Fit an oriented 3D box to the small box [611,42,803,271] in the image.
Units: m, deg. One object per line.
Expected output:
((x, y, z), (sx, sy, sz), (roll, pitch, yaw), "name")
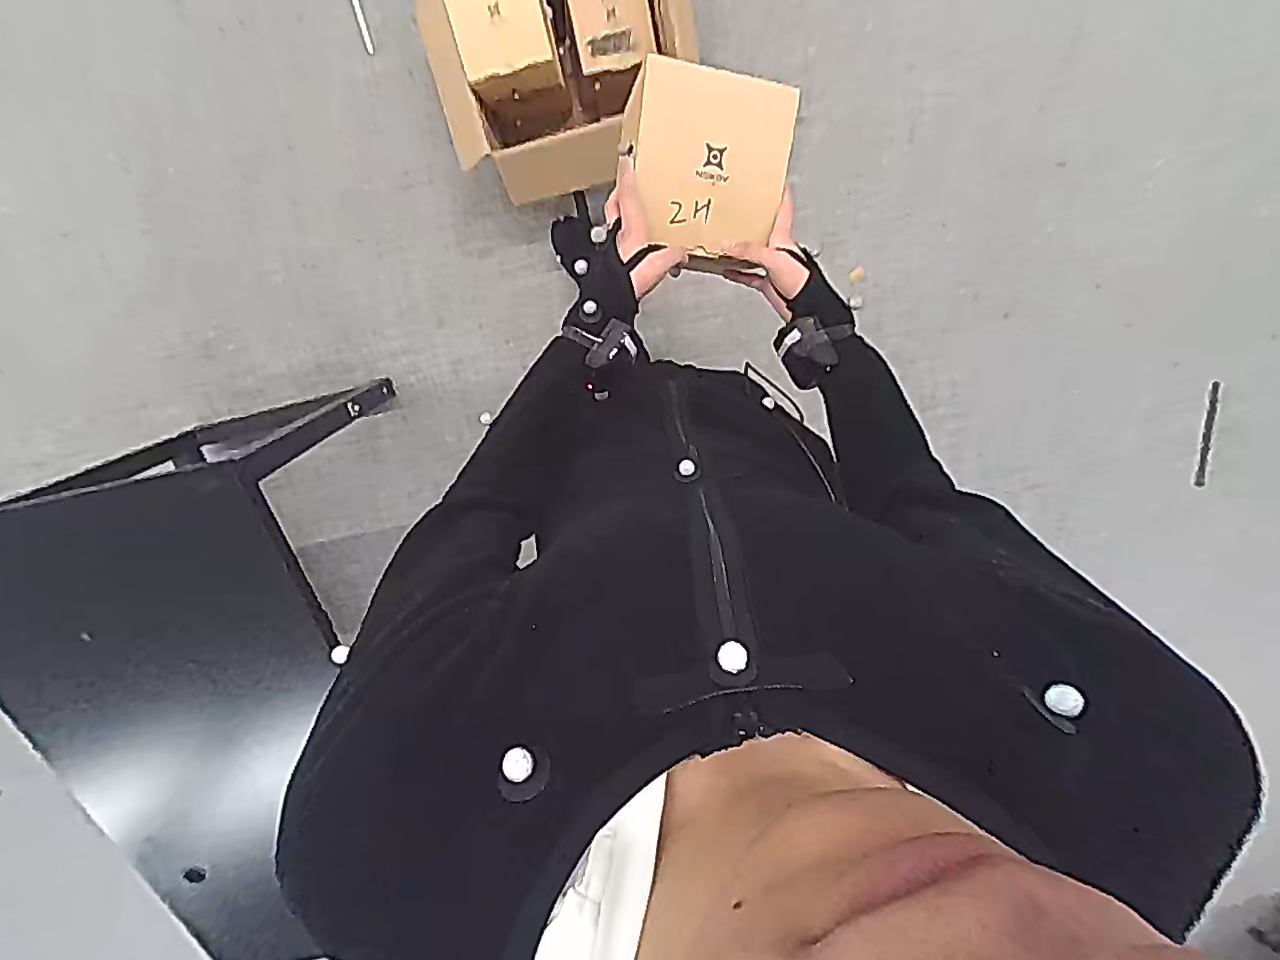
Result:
((0.063, -0.354, 0.632), (0.168, 0.176, 0.179), (5, 106, -11), "small box")
